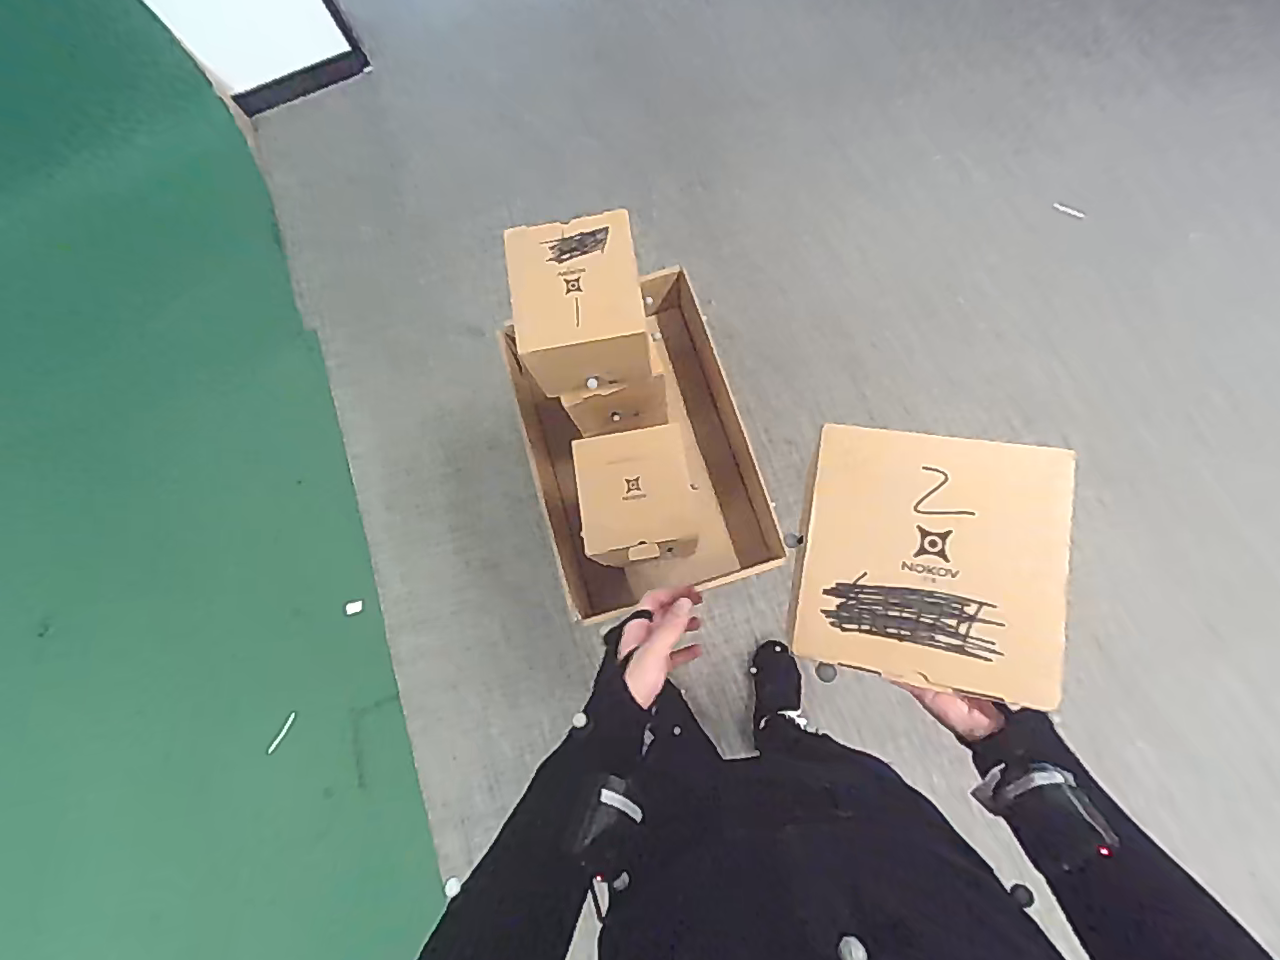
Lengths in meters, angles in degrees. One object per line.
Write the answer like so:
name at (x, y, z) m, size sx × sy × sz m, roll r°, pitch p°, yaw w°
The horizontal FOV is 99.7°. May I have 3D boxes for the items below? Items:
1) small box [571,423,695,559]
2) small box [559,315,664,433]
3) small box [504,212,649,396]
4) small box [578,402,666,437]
small box at (-0.005, 0.028, 0.862) m, size 0.168 × 0.176 × 0.179 m, roll -9°, pitch 76°, yaw 2°
small box at (-0.063, -0.202, 0.924) m, size 0.168 × 0.176 × 0.179 m, roll -19°, pitch 78°, yaw 0°
small box at (-0.082, -0.238, 0.764) m, size 0.168 × 0.176 × 0.179 m, roll -9°, pitch 79°, yaw 3°
small box at (-0.050, -0.172, 1.082) m, size 0.168 × 0.176 × 0.179 m, roll -18°, pitch 78°, yaw 1°
